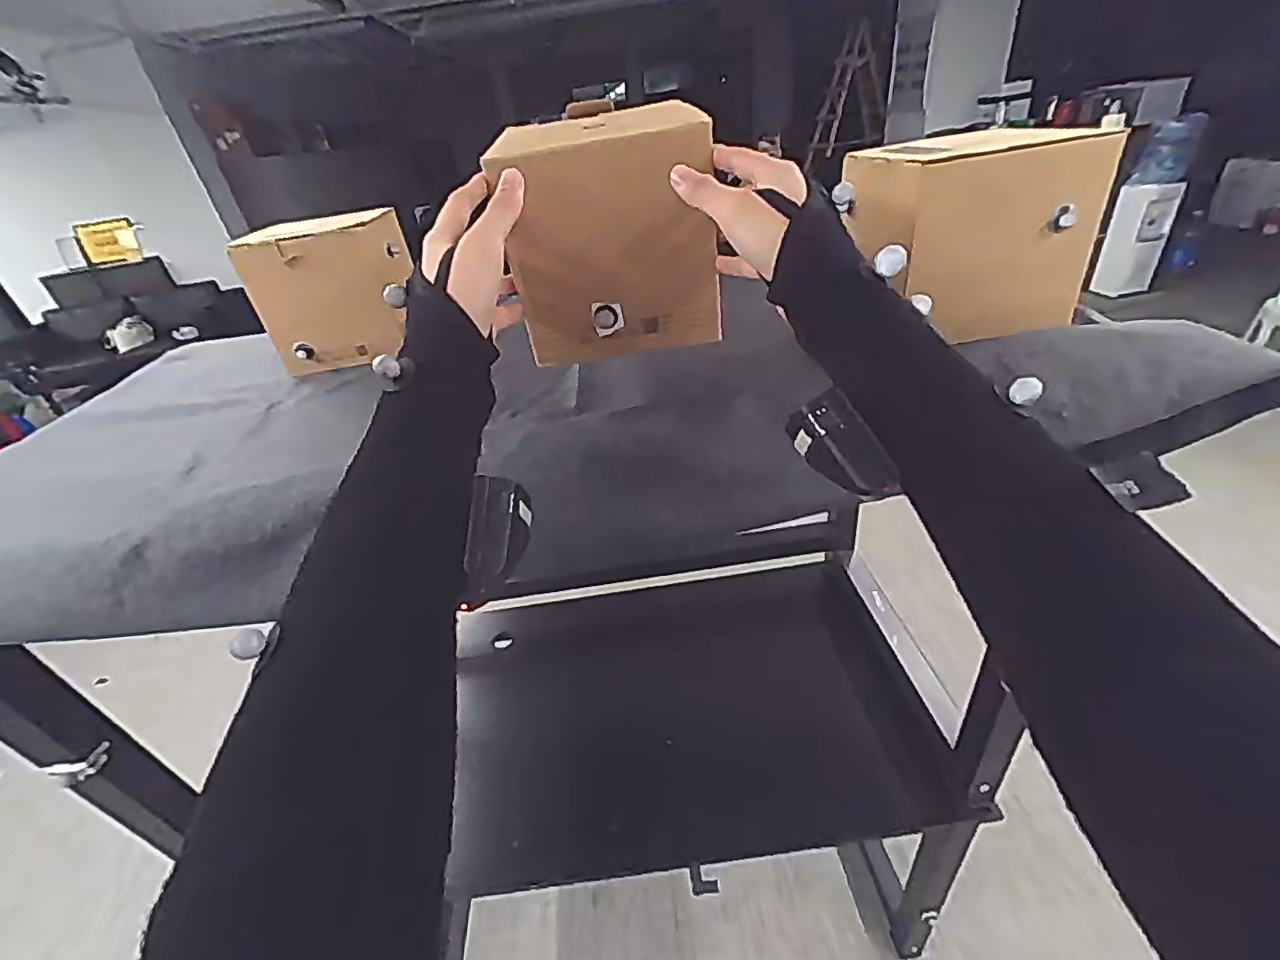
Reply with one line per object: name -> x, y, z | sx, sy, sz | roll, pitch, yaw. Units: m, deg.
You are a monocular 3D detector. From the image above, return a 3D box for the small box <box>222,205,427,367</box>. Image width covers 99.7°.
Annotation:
small box -> -0.414, -0.267, 0.751 | 0.168, 0.176, 0.179 | -11, 34, -3

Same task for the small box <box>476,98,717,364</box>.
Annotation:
small box -> -0.029, -0.224, 0.484 | 0.168, 0.176, 0.179 | -9, 39, 1
